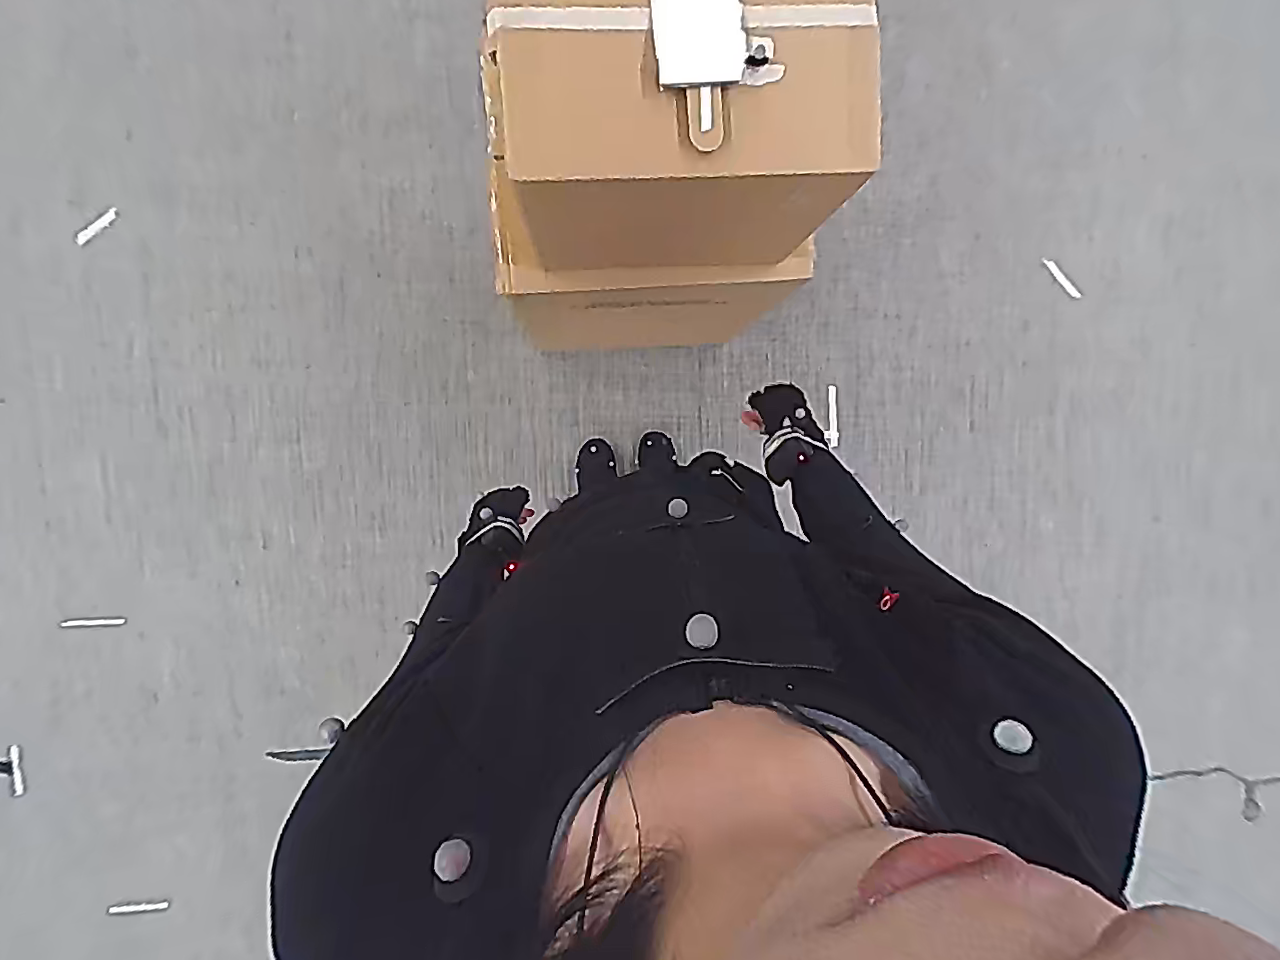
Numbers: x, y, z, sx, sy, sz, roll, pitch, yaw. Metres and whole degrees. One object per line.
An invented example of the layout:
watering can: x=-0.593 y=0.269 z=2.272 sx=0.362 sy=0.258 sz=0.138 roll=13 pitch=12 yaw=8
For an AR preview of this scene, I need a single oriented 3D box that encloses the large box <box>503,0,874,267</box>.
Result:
large box: x=0.041 y=-0.500 z=0.729 sx=0.408 sy=0.320 sz=0.320 roll=-4 pitch=95 yaw=-5
